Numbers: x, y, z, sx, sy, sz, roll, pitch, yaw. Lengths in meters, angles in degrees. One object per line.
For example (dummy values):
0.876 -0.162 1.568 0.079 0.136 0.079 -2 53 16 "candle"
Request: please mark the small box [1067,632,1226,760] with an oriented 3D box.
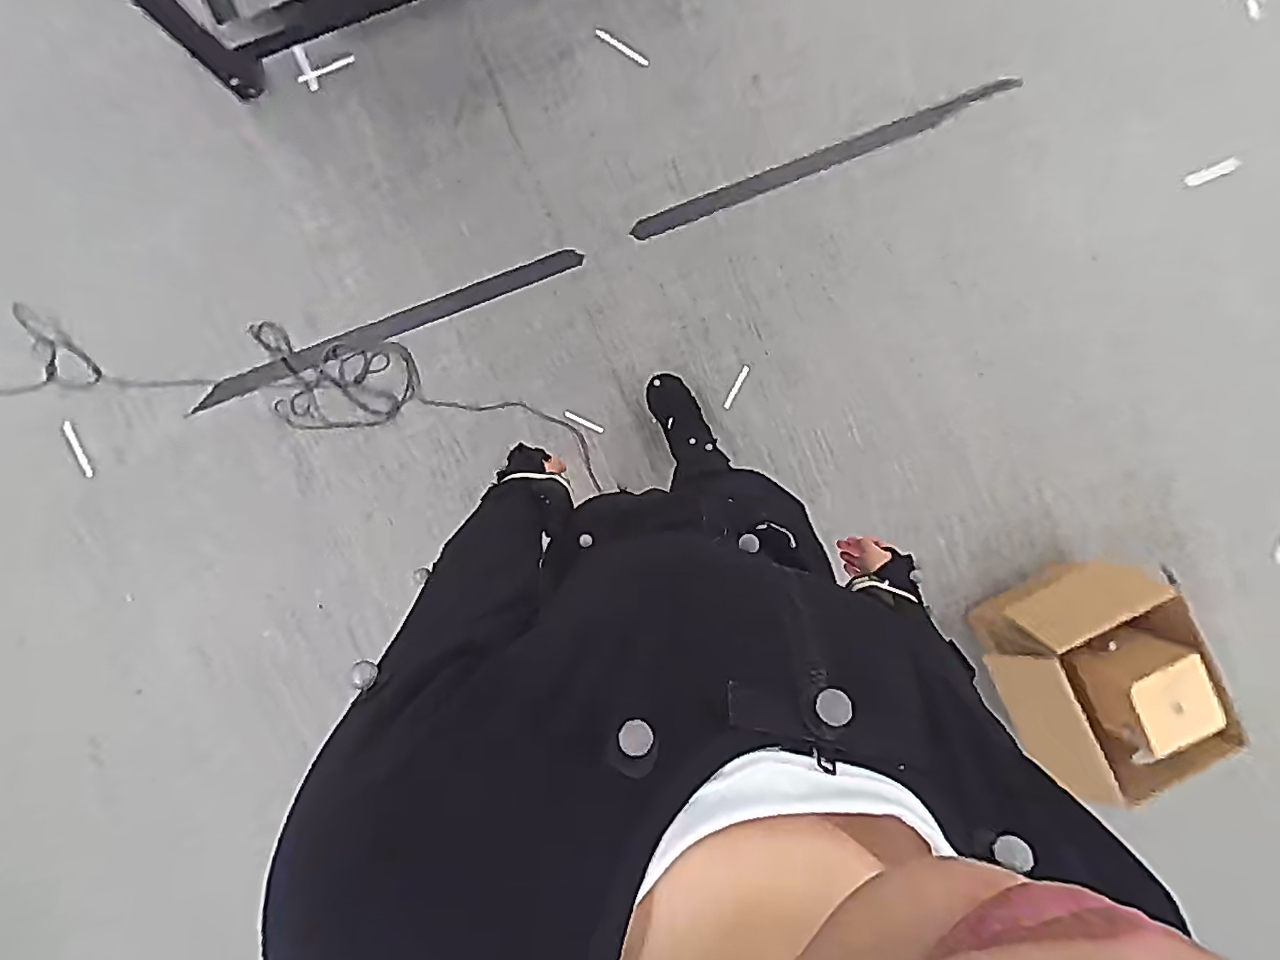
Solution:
1.114 0.471 1.203 0.168 0.176 0.179 -25 94 -1 "small box"
